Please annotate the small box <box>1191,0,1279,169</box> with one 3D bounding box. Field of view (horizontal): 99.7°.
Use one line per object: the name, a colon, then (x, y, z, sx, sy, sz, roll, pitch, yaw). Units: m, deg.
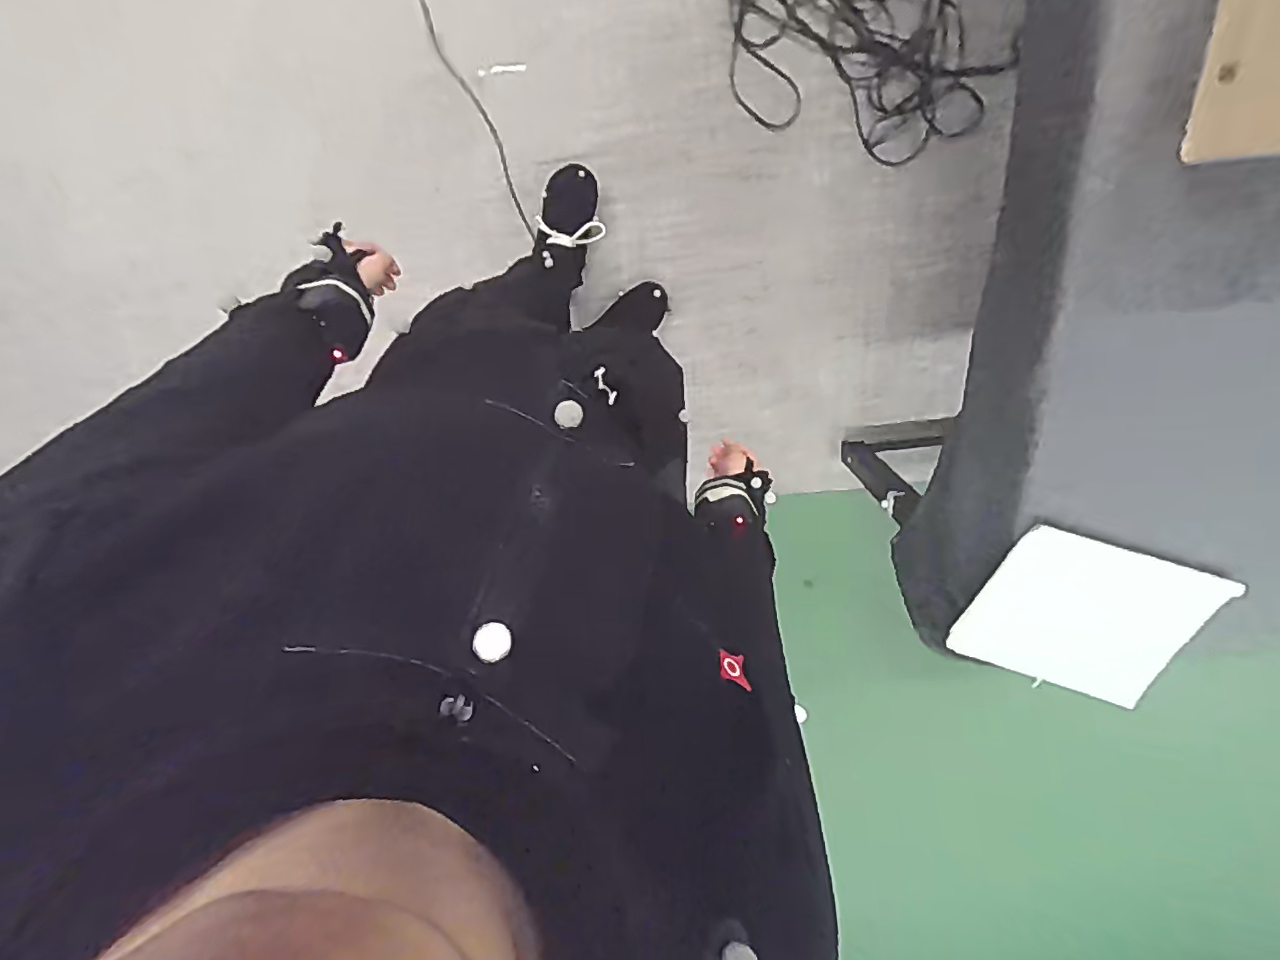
small box: (0.558, -0.325, 0.373, 0.179, 0.176, 0.168, -4, 112, 3)
